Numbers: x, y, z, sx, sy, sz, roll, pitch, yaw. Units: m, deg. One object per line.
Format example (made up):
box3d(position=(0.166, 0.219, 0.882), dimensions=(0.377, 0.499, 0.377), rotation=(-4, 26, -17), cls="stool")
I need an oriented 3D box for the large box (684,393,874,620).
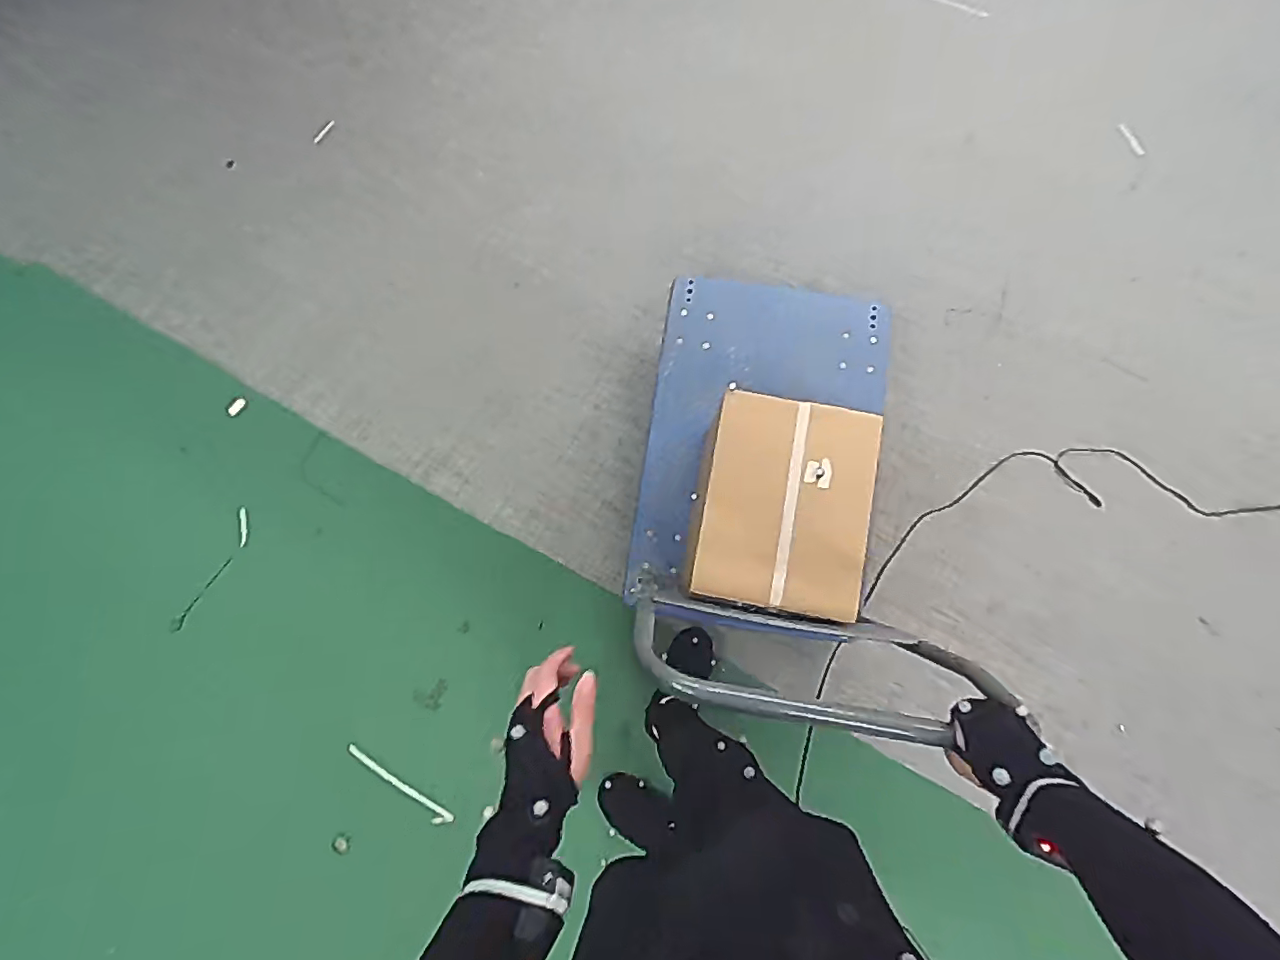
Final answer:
box3d(position=(0.280, 0.070, 1.178), dimensions=(0.320, 0.320, 0.408), rotation=(10, 81, 2), cls="large box")
